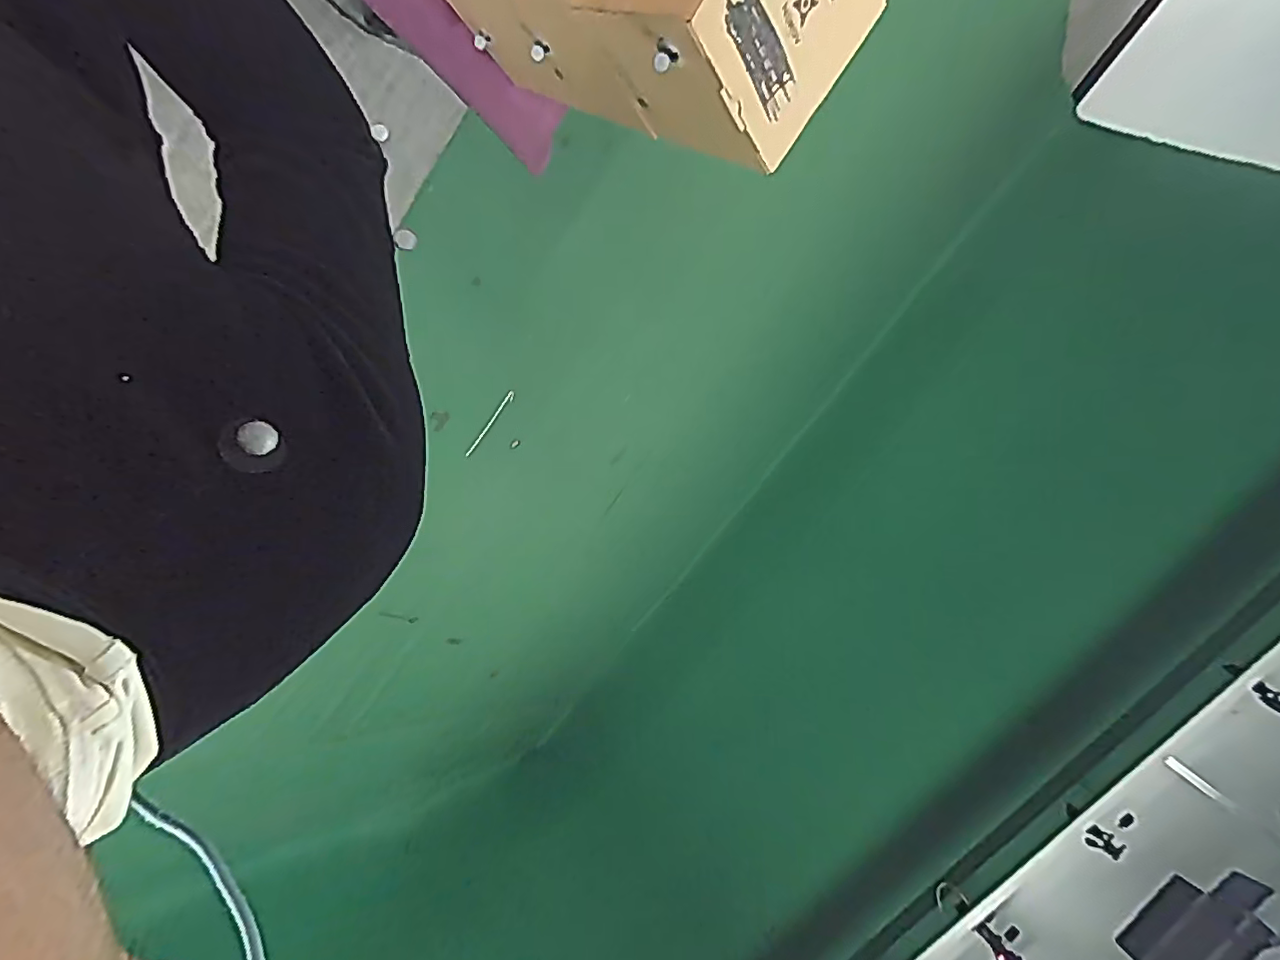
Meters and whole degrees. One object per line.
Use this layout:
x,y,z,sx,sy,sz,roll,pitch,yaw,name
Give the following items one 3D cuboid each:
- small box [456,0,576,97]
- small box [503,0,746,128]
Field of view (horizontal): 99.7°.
-0.125,-0.621,0.653,0.168,0.176,0.179,-51,148,8,small box
-0.022,-0.527,0.569,0.179,0.176,0.168,-51,147,8,small box
